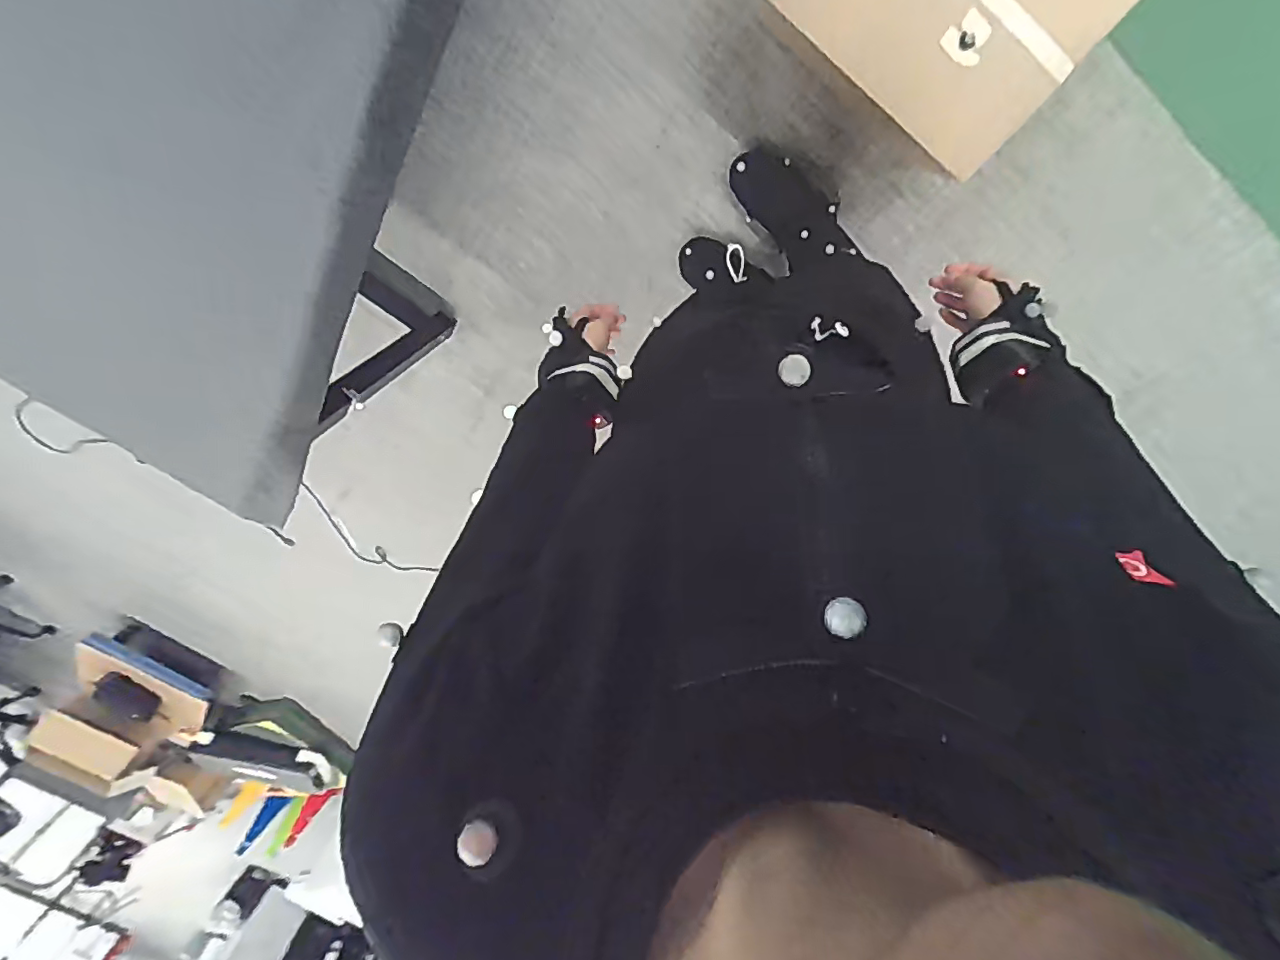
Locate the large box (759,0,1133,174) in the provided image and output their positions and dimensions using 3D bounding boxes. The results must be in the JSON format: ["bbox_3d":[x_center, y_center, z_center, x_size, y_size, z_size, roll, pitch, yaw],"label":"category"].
[{"bbox_3d":[0.427,-0.730,0.794,0.408,0.320,0.320,33,125,-11],"label":"large box"}]
